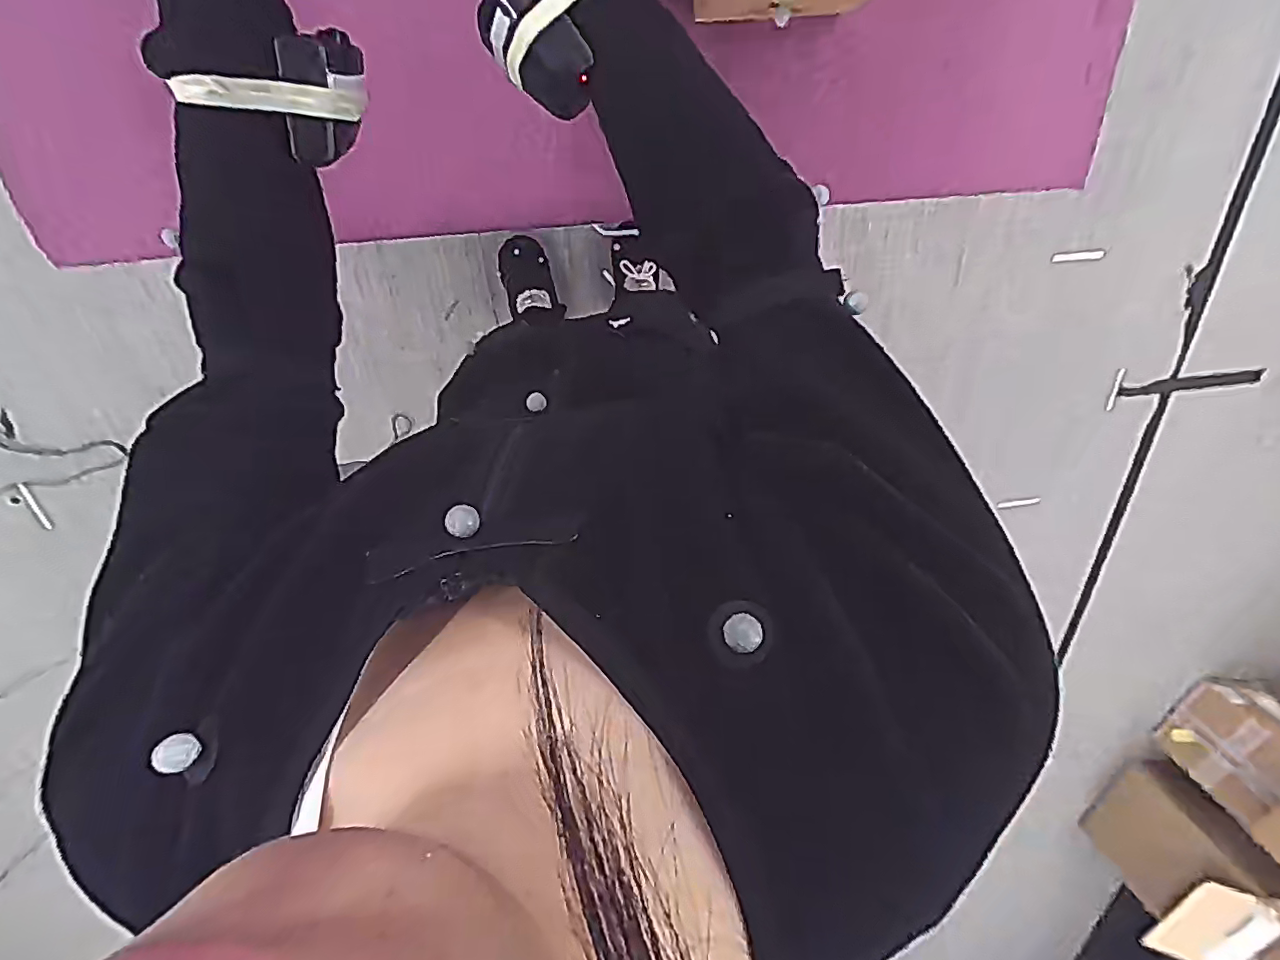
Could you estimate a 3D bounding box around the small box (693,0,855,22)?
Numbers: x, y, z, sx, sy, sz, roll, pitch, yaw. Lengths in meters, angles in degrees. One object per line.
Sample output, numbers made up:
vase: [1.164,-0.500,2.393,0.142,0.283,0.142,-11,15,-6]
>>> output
small box: [0.136,-0.525,0.457,0.168,0.176,0.179,-7,119,-5]
